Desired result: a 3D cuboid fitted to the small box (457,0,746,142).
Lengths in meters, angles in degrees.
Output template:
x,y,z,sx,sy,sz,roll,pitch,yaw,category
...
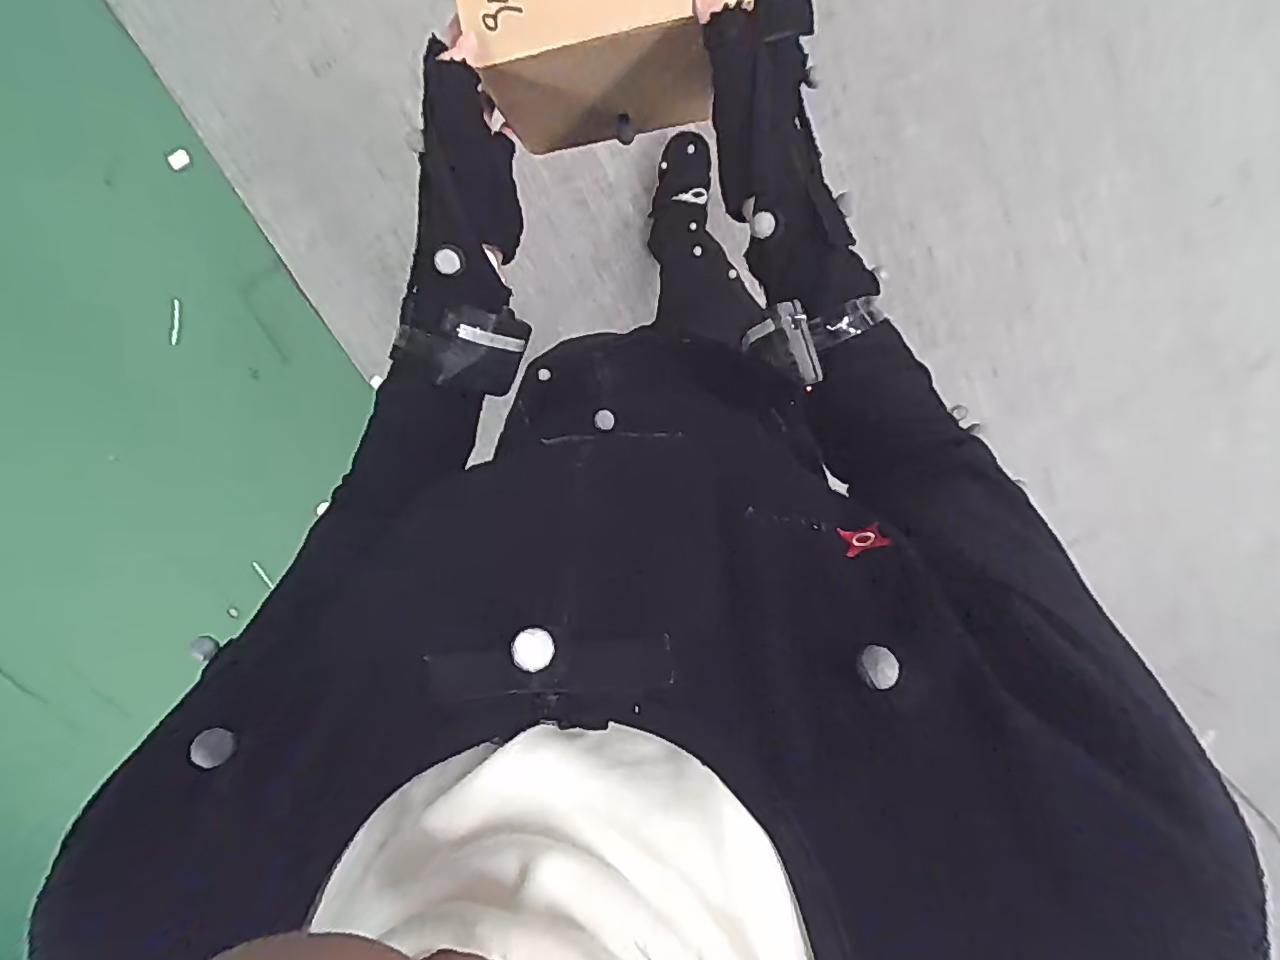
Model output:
x,y,z,sx,sy,sz,roll,pitch,yaw,category
-0.032,-0.371,0.383,0.179,0.176,0.168,-9,103,4,small box
